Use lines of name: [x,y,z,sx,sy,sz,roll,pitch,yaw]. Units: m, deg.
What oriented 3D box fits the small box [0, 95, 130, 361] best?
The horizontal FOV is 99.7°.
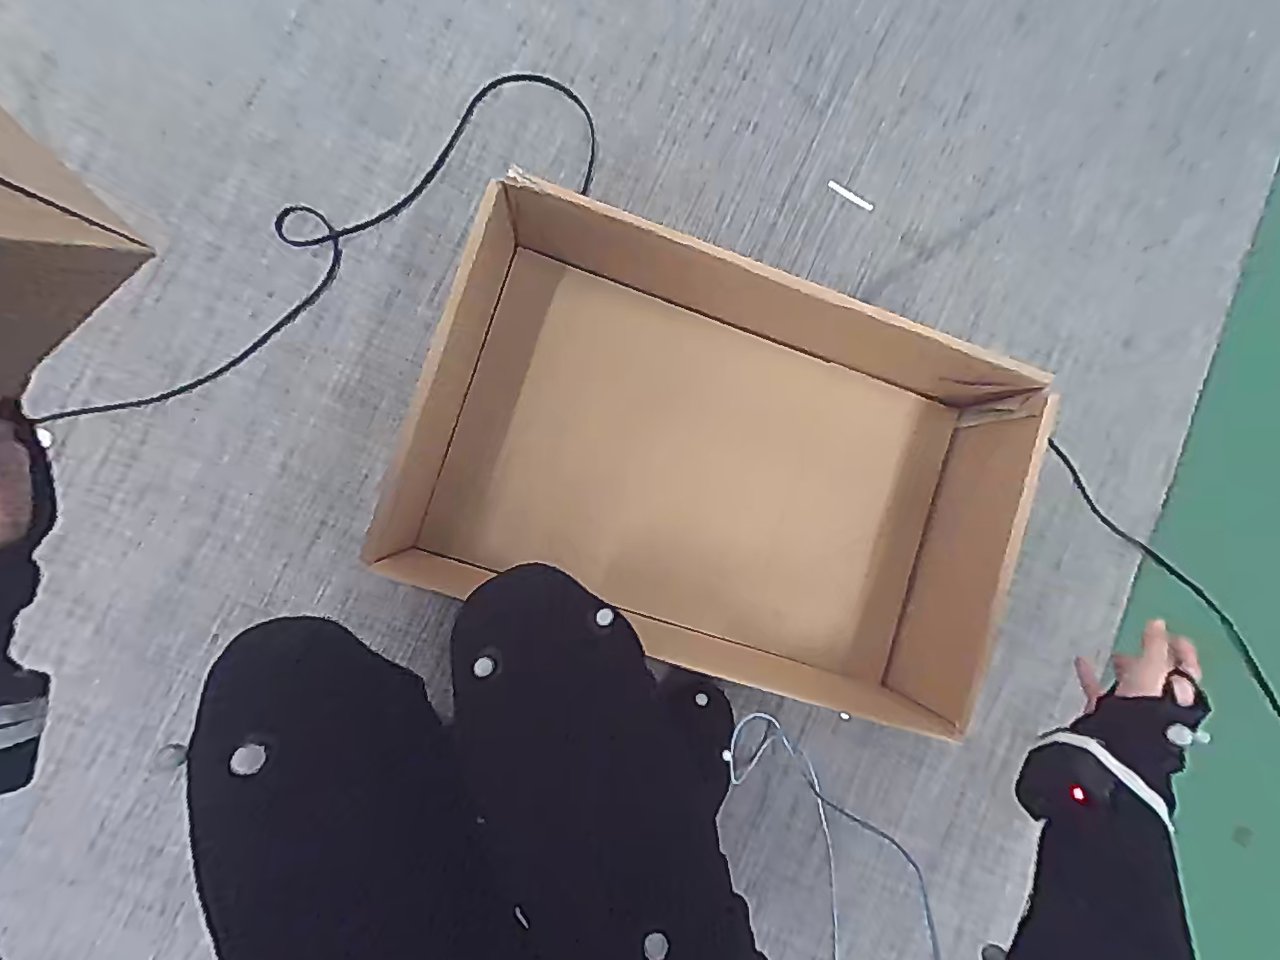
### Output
small box: [-0.301,-0.085,0.128,0.176,0.179,0.168,-39,110,3]
